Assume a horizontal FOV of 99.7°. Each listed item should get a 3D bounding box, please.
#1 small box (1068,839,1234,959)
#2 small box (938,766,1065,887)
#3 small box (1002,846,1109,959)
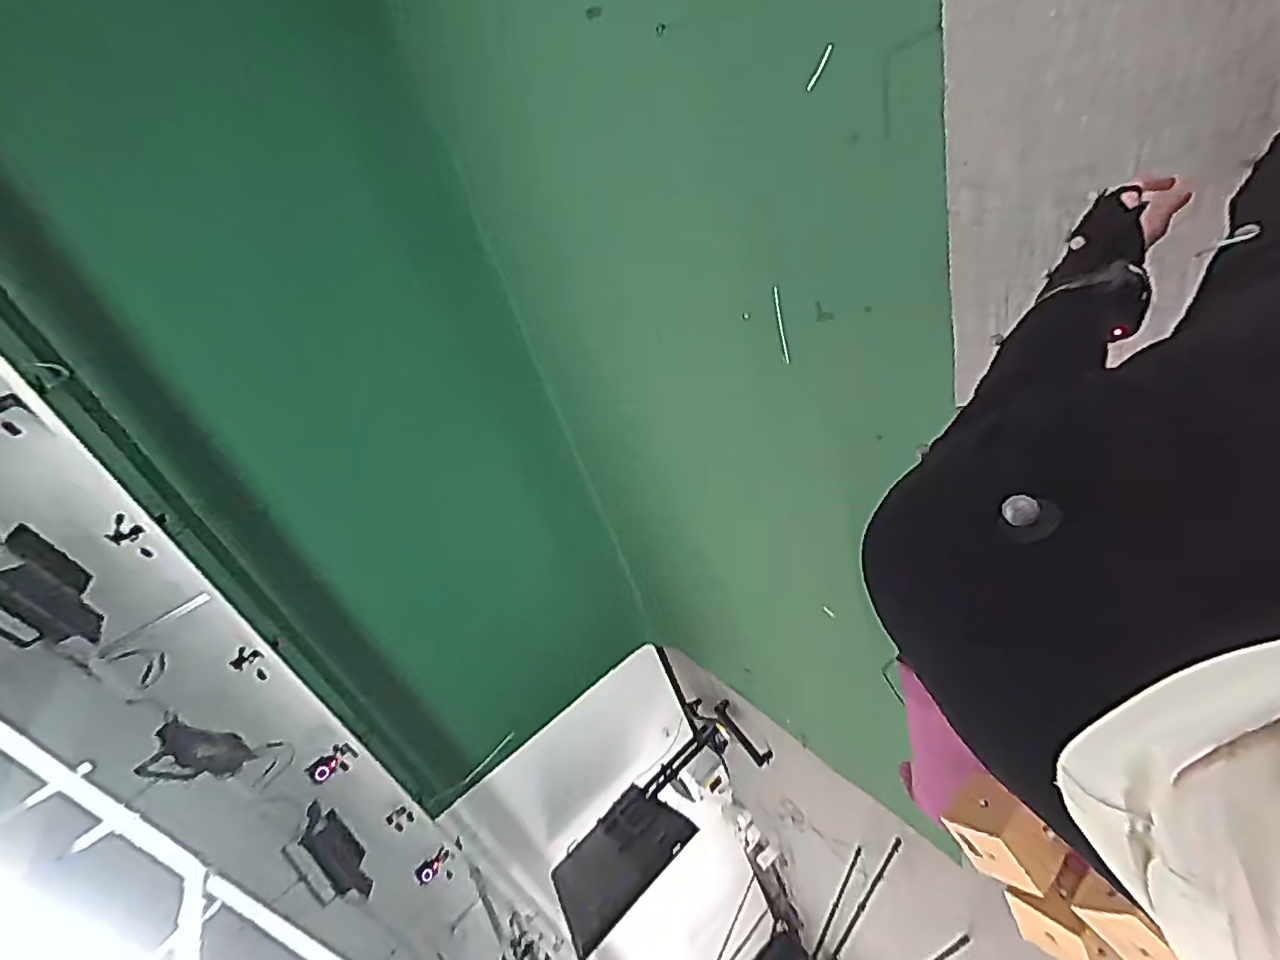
[{"bbox_3d":[1.050,0.873,1.111,0.168,0.176,0.179,45,154,23],"label":"small box"},{"bbox_3d":[0.906,0.853,1.356,0.168,0.176,0.179,54,155,2],"label":"small box"},{"bbox_3d":[1.046,1.039,1.344,0.168,0.176,0.179,0,121,61],"label":"small box"}]
